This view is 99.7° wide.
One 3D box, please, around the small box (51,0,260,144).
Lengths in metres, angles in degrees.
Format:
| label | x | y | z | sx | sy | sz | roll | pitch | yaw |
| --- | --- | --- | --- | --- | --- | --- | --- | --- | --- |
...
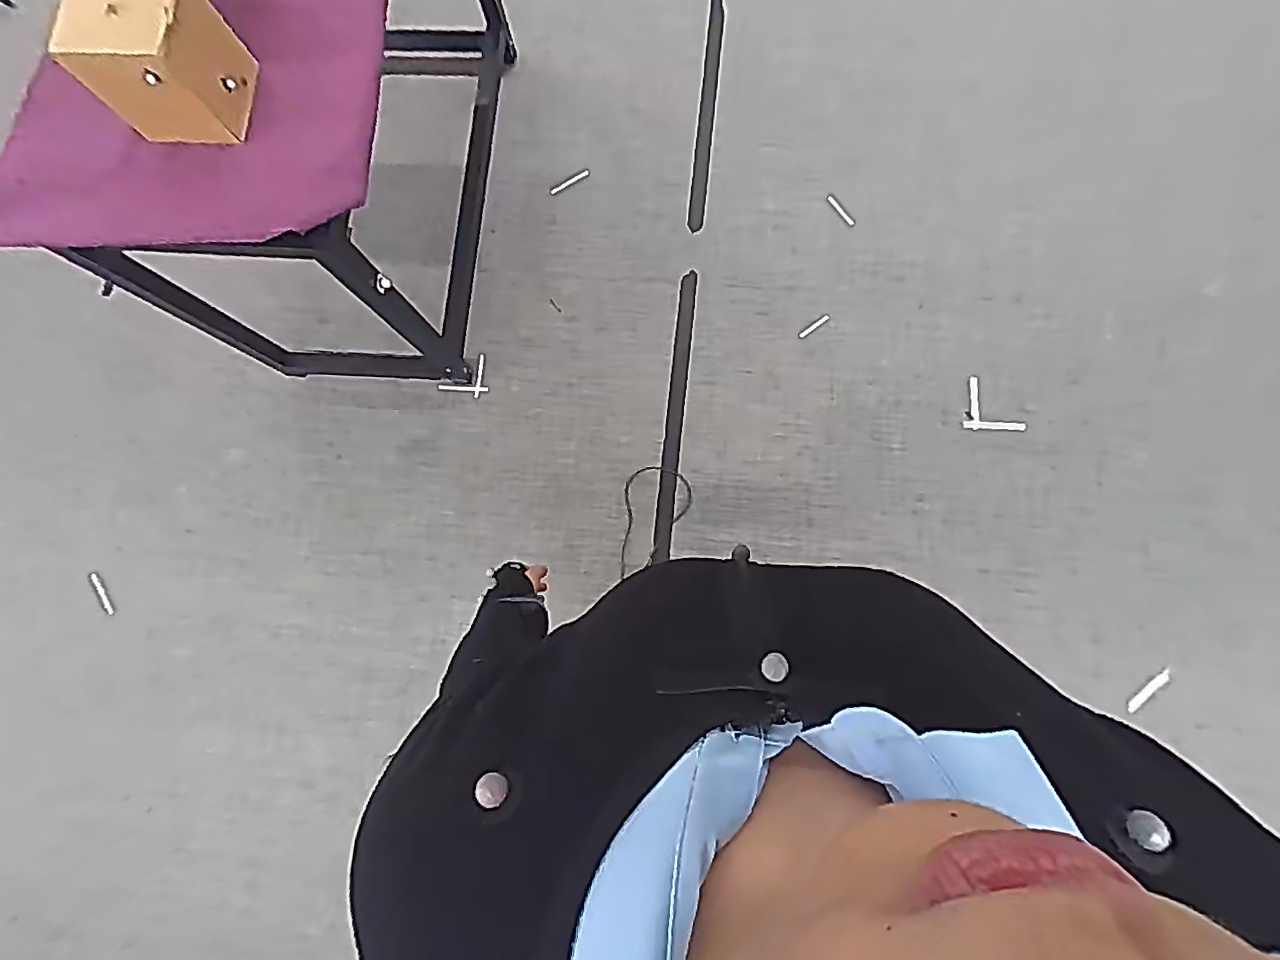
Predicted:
| label | x | y | z | sx | sy | sz | roll | pitch | yaw |
| --- | --- | --- | --- | --- | --- | --- | --- | --- | --- |
| small box | -0.782 | -0.689 | 0.891 | 0.179 | 0.176 | 0.168 | 2 | 80 | 2 |
